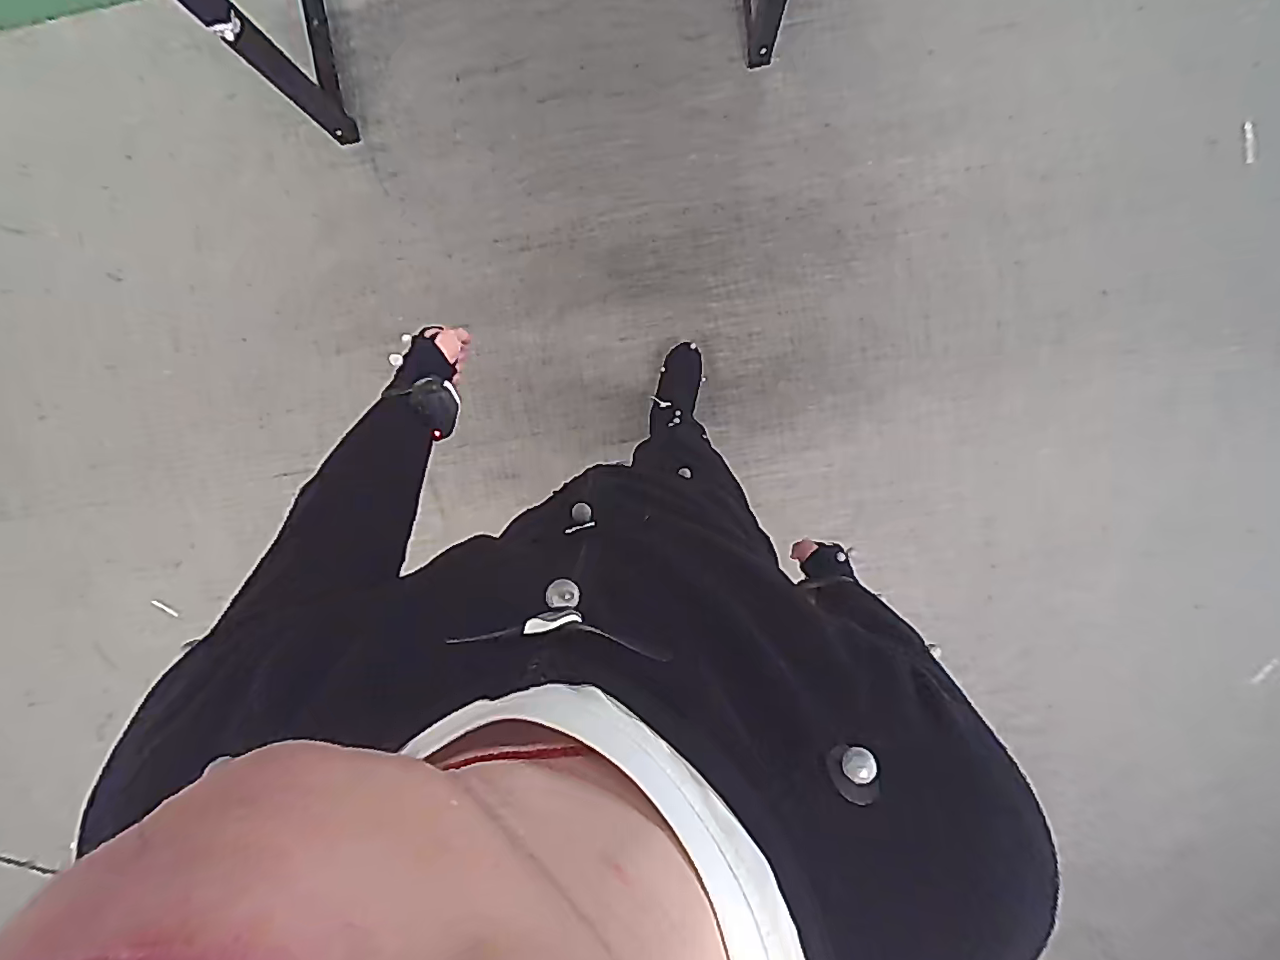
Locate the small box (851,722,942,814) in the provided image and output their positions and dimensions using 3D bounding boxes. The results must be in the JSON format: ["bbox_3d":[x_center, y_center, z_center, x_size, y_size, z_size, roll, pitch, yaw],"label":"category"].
[{"bbox_3d":[0.705,0.792,1.498,0.179,0.176,0.168,-2,96,2],"label":"small box"}]
